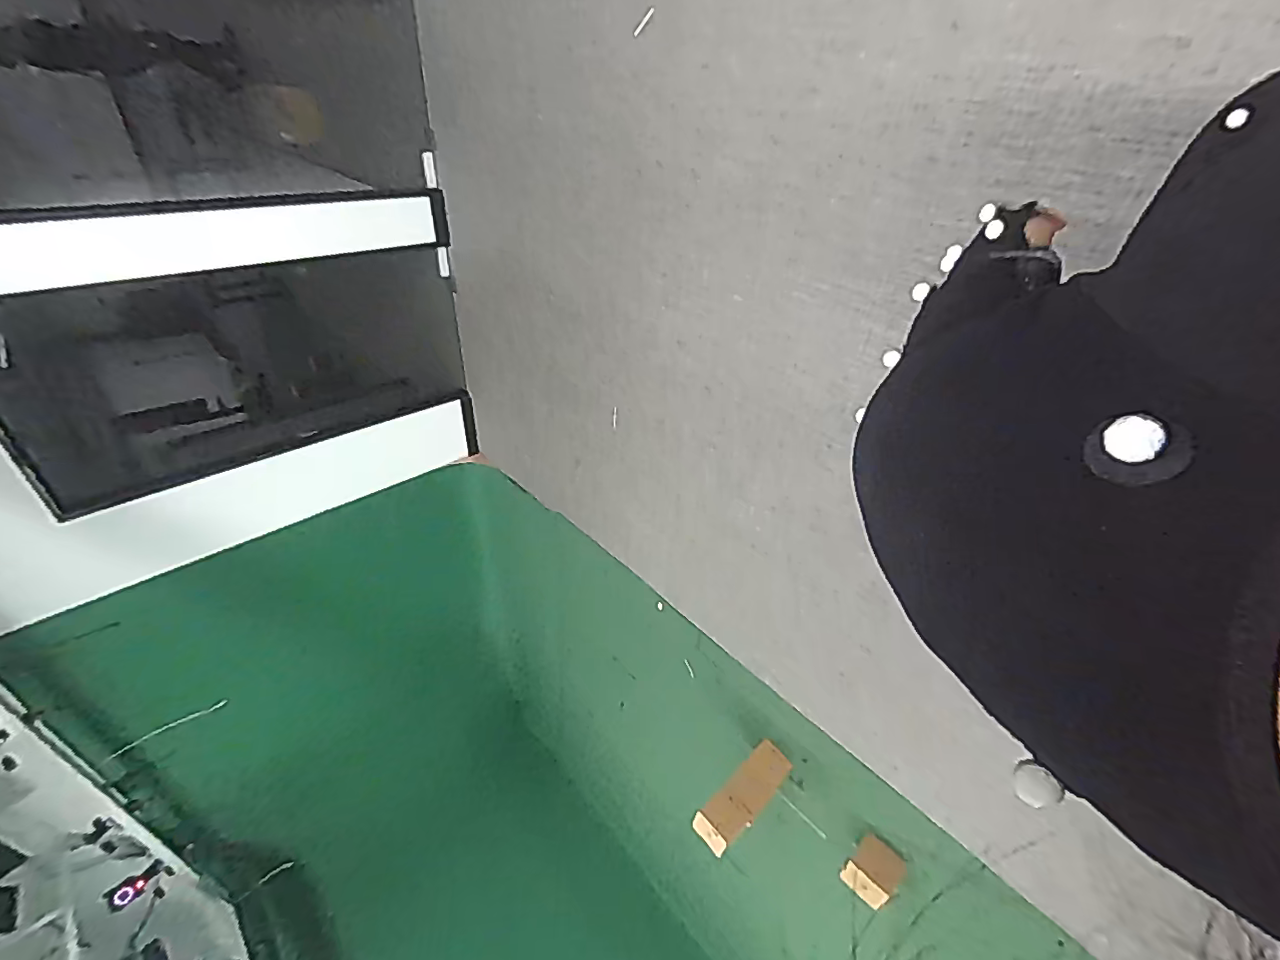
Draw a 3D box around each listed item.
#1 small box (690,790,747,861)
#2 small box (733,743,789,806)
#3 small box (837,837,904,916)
[{"bbox_3d":[0.342,1.492,2.340,0.168,0.176,0.179,38,137,32],"label":"small box"},{"bbox_3d":[0.573,1.380,2.545,0.168,0.176,0.179,40,138,28],"label":"small box"},{"bbox_3d":[0.954,1.628,2.230,0.179,0.176,0.168,33,133,34],"label":"small box"}]
